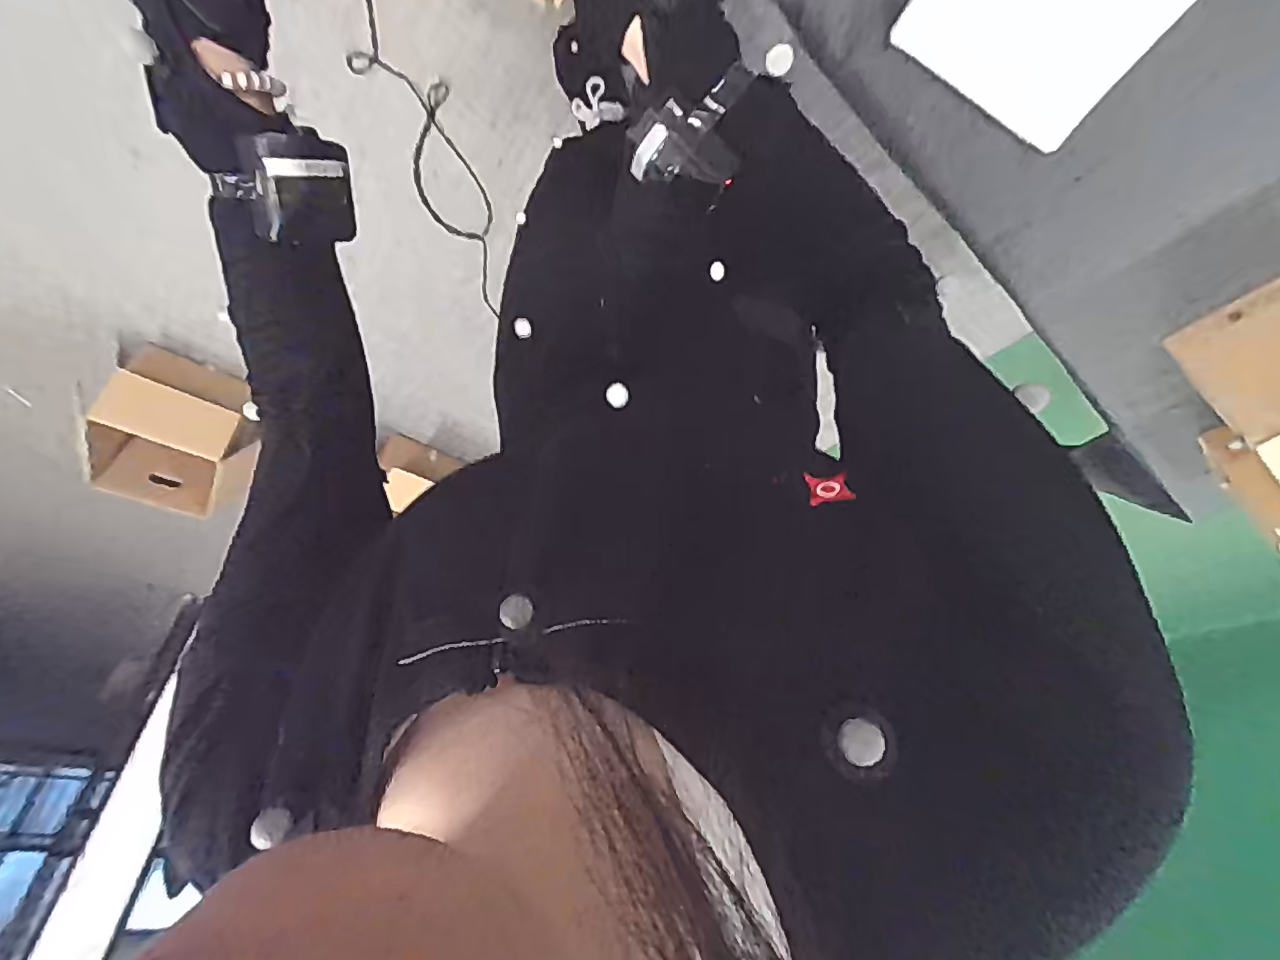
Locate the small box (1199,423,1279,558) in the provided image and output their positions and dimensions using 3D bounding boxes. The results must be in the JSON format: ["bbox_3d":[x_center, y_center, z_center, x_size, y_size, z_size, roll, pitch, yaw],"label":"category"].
[{"bbox_3d":[0.938,-0.012,0.740,0.168,0.176,0.179,28,135,-33],"label":"small box"}]

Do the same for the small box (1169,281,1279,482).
[{"bbox_3d":[0.747,-0.116,0.594,0.179,0.176,0.168,23,138,-29],"label":"small box"}]
